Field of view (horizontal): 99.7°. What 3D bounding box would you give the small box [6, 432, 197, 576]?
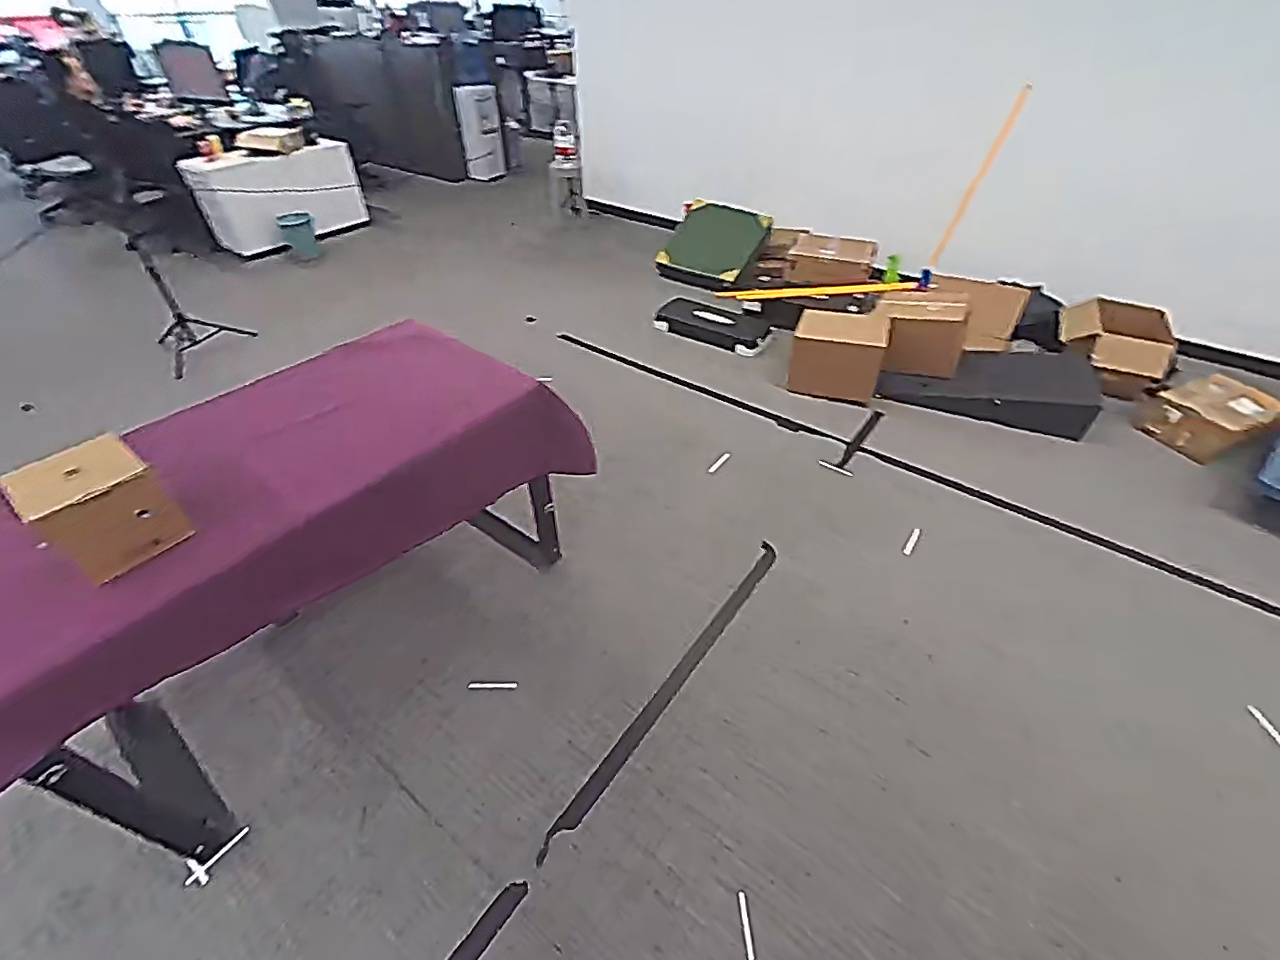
[{"bbox_3d":[-0.963,0.047,0.983,0.179,0.176,0.168,27,48,27],"label":"small box"}]
